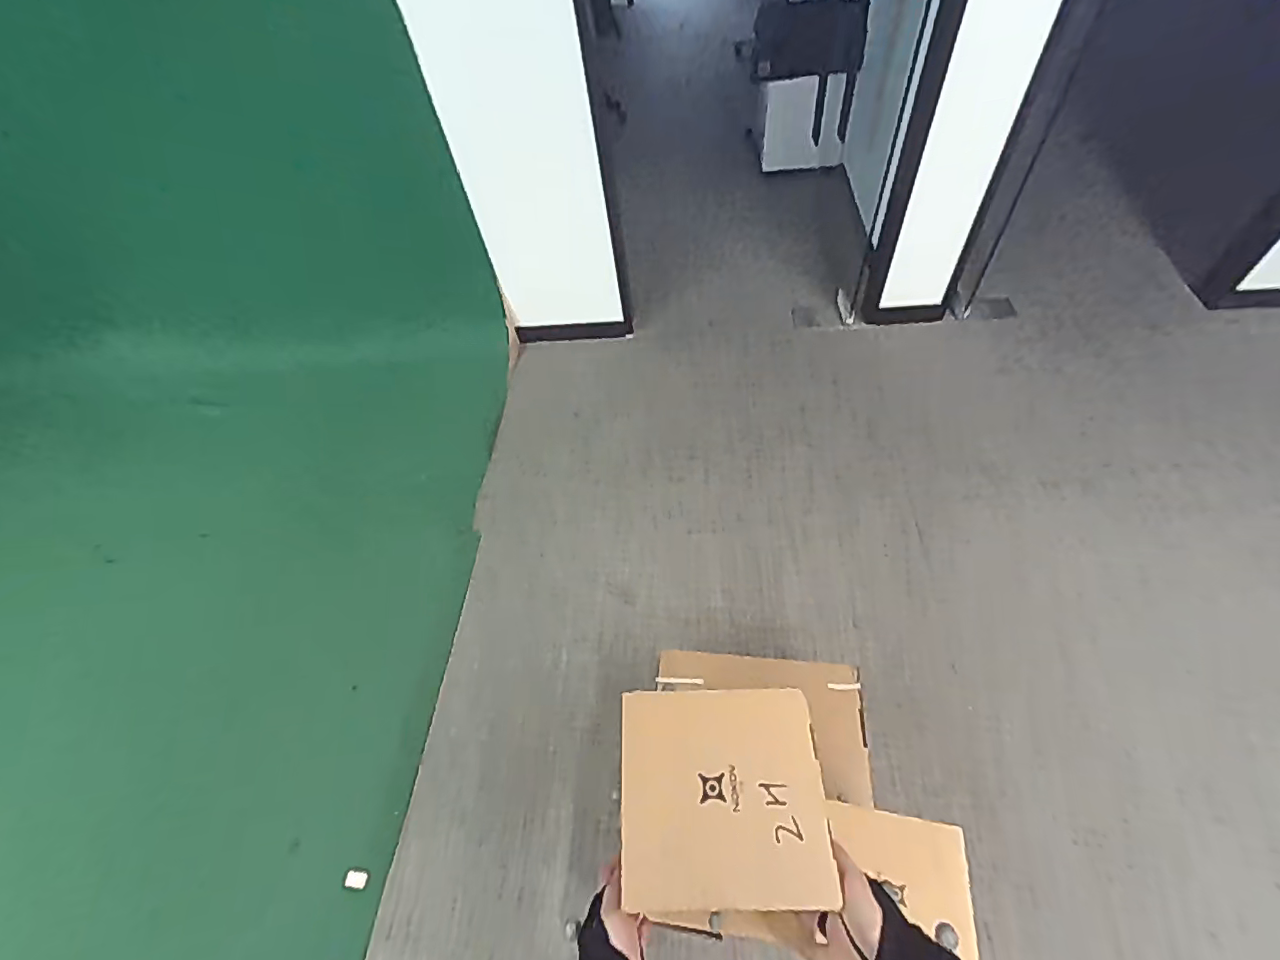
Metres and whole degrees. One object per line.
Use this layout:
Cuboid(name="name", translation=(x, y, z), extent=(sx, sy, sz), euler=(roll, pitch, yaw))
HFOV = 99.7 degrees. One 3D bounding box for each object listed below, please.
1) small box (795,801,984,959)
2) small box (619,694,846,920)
Cuboid(name="small box", translation=(0.301, 0.525, 0.686), extent=(0.179, 0.176, 0.168), euler=(6, 54, 11))
Cuboid(name="small box", translation=(0.074, 0.313, 0.521), extent=(0.179, 0.176, 0.168), euler=(-2, 55, 1))
